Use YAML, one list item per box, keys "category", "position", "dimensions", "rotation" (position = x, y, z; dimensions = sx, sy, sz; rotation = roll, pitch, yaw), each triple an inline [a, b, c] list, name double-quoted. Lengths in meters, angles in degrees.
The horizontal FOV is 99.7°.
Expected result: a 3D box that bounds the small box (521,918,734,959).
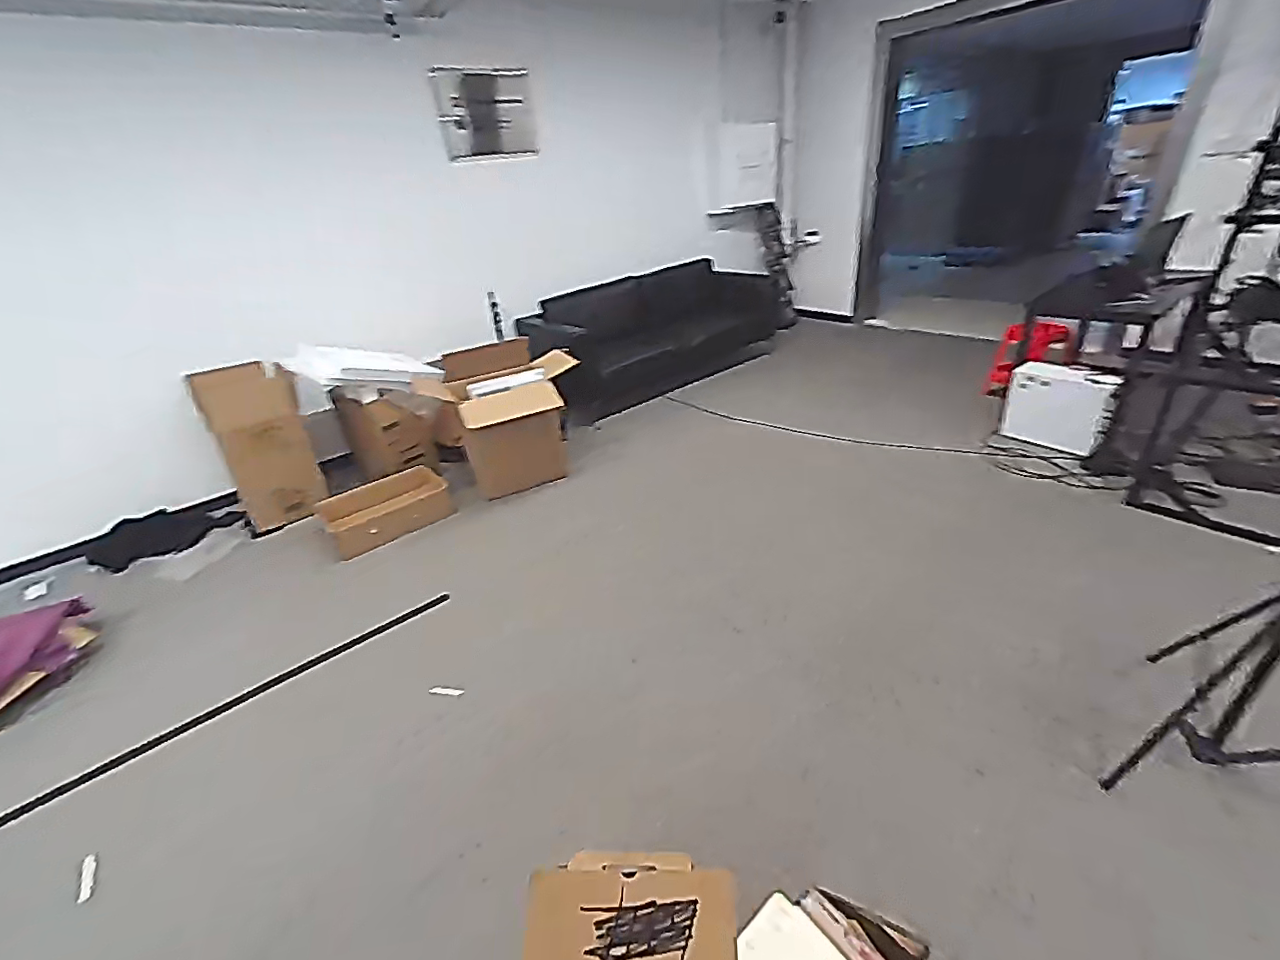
- category: "small box"
  position: [-0.006, 0.466, 0.415]
  dimensions: [0.168, 0.176, 0.179]
  rotation: [-4, 41, 4]
